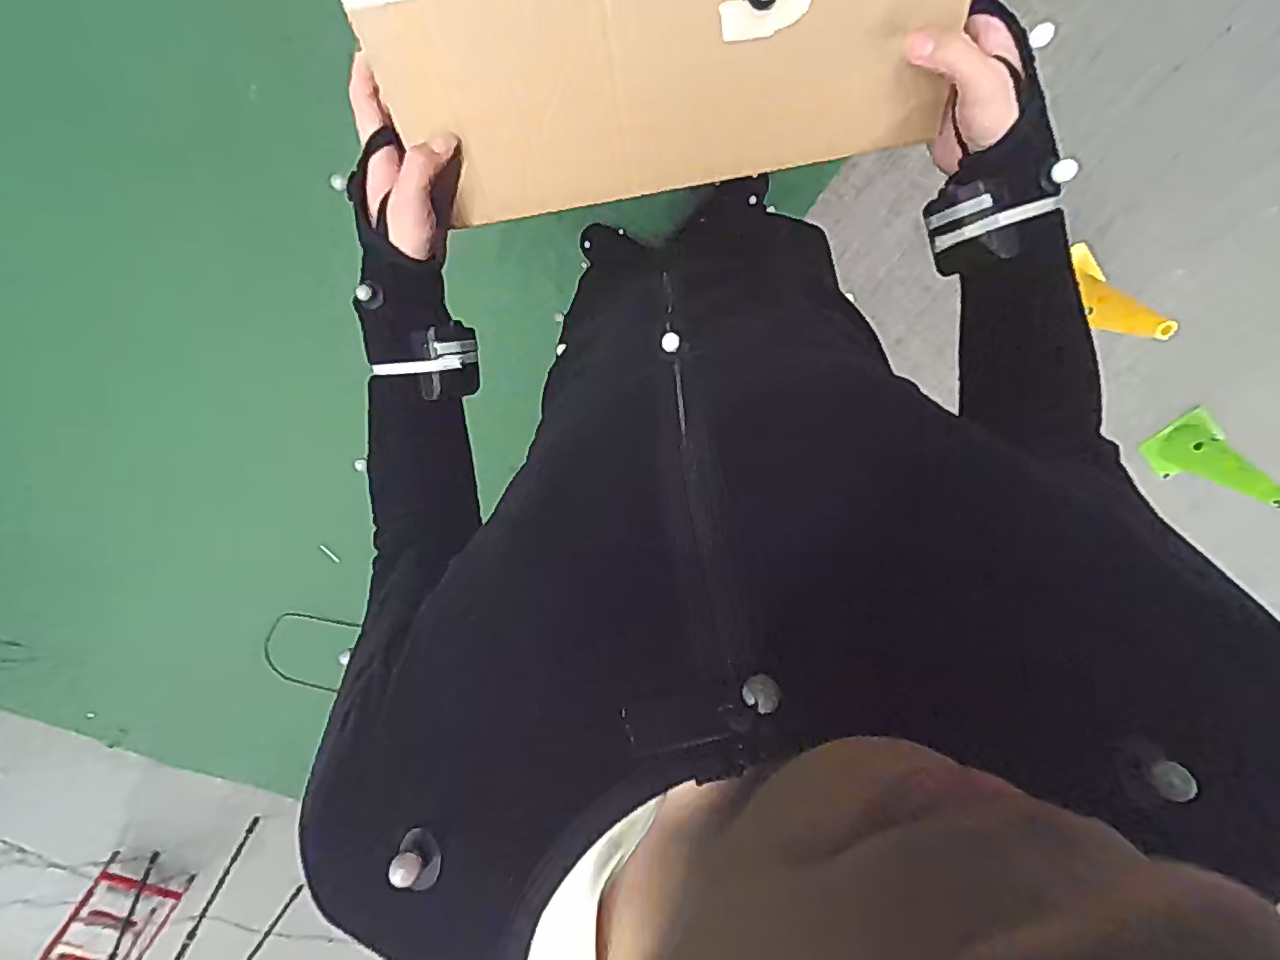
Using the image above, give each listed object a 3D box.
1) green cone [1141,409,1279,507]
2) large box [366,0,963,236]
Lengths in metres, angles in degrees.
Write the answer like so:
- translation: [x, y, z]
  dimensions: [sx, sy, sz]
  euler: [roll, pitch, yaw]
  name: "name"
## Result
- translation: [1.752, -0.024, 1.592]
  dimensions: [0.202, 0.368, 0.200]
  euler: [36, 114, -18]
  name: "green cone"
- translation: [0.006, -0.445, 0.443]
  dimensions: [0.408, 0.320, 0.320]
  euler: [-8, 136, 4]
  name: "large box"
